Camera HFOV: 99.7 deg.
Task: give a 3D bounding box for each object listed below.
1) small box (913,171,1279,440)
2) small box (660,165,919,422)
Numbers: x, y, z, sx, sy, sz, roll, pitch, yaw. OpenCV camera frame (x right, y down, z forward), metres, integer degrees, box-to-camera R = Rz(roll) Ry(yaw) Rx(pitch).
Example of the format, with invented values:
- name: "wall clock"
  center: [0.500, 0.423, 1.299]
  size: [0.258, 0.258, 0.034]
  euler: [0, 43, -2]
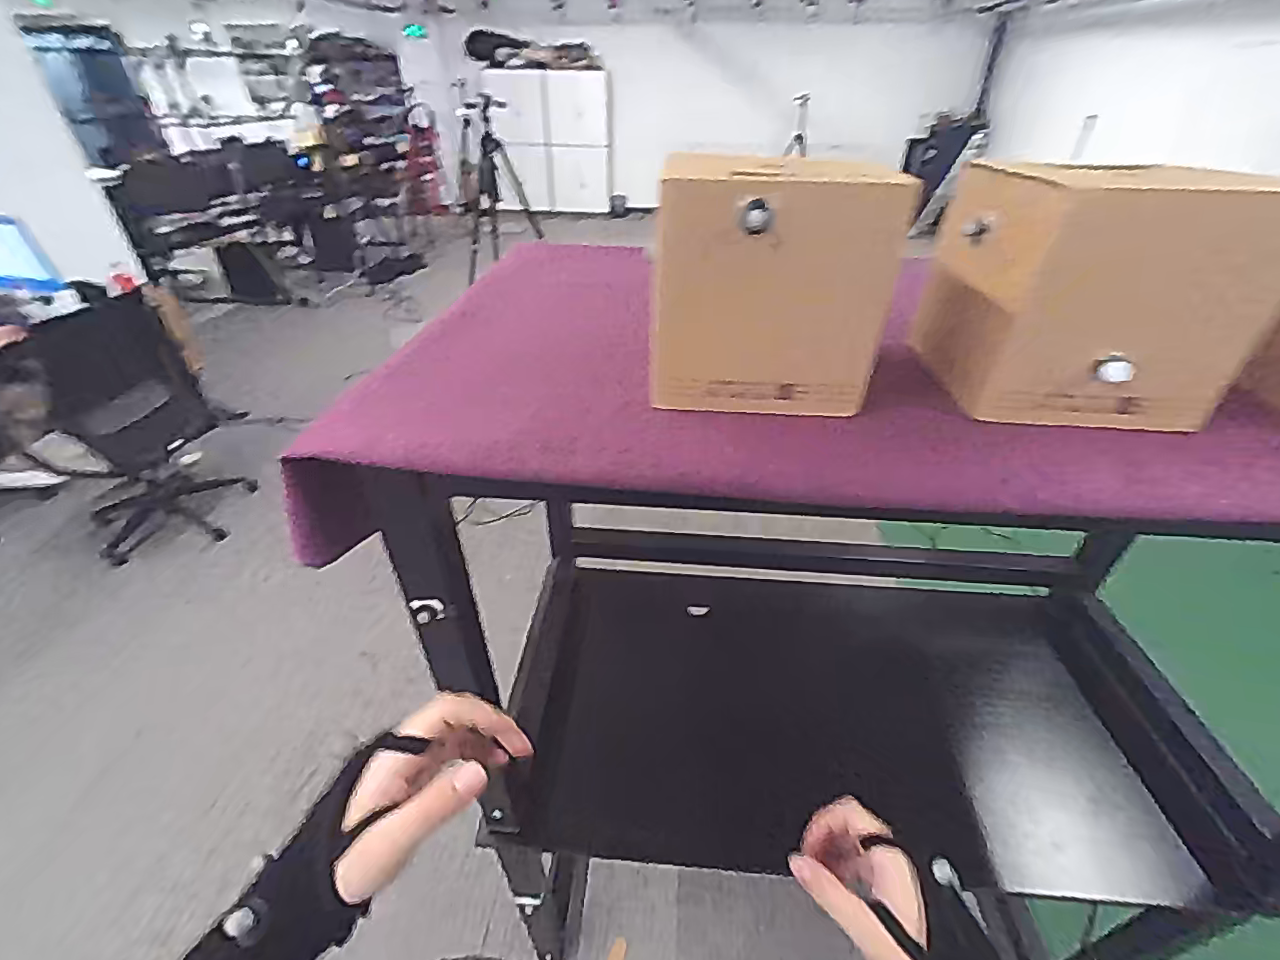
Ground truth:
- name: "small box"
  center: [0.357, -0.152, 0.455]
  size: [0.168, 0.176, 0.179]
  euler: [4, 36, 4]
- name: "small box"
  center: [0.105, -0.166, 0.468]
  size: [0.168, 0.176, 0.179]
  euler: [3, 35, 3]
